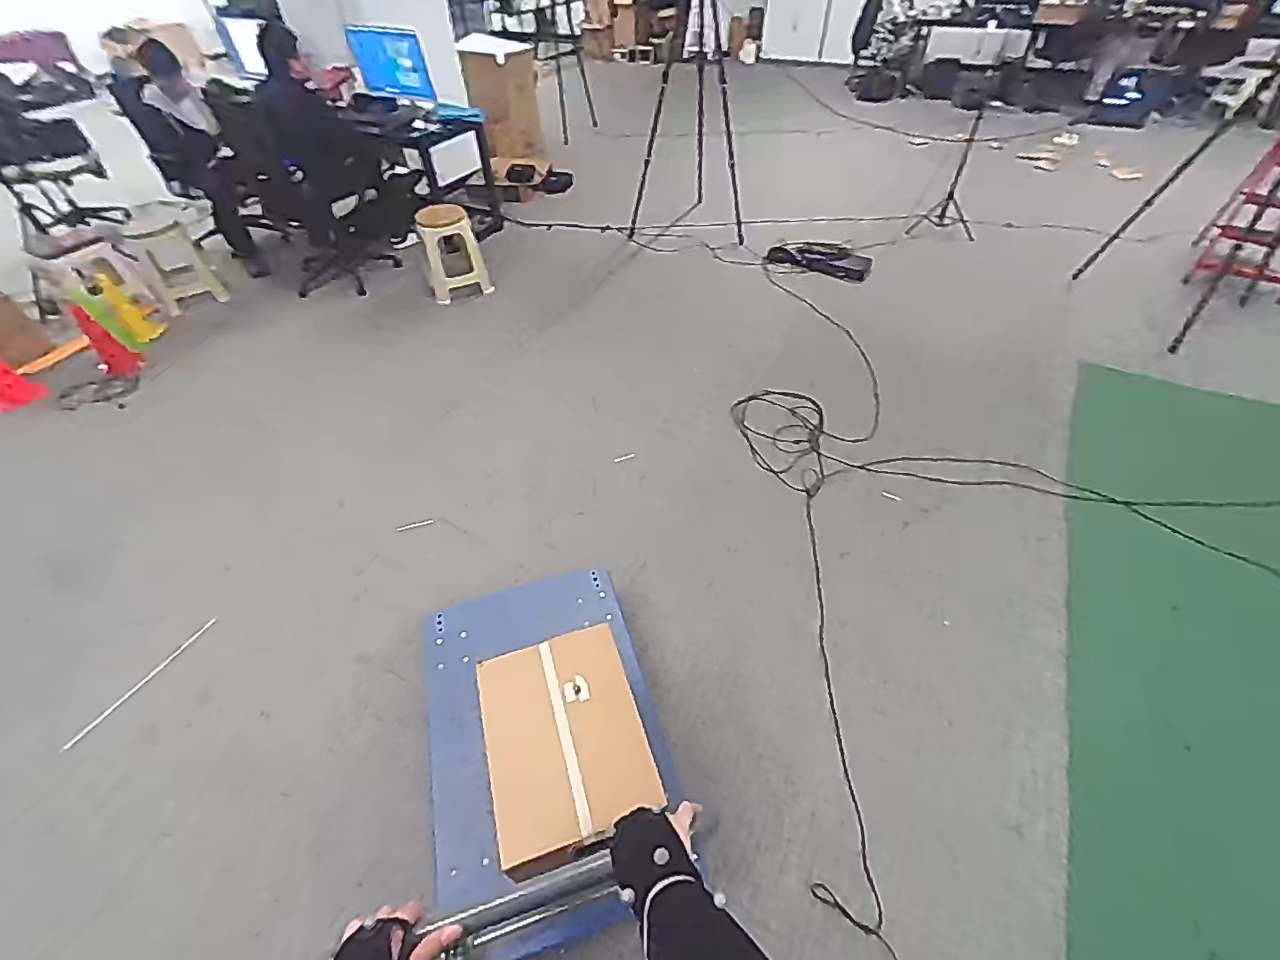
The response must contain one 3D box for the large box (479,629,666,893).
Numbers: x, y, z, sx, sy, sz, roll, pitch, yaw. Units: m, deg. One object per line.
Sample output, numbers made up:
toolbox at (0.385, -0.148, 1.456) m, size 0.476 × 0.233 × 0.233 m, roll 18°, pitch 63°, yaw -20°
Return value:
large box at (-0.151, 0.629, 1.232) m, size 0.320 × 0.320 × 0.408 m, roll -14°, pitch 46°, yaw -12°
